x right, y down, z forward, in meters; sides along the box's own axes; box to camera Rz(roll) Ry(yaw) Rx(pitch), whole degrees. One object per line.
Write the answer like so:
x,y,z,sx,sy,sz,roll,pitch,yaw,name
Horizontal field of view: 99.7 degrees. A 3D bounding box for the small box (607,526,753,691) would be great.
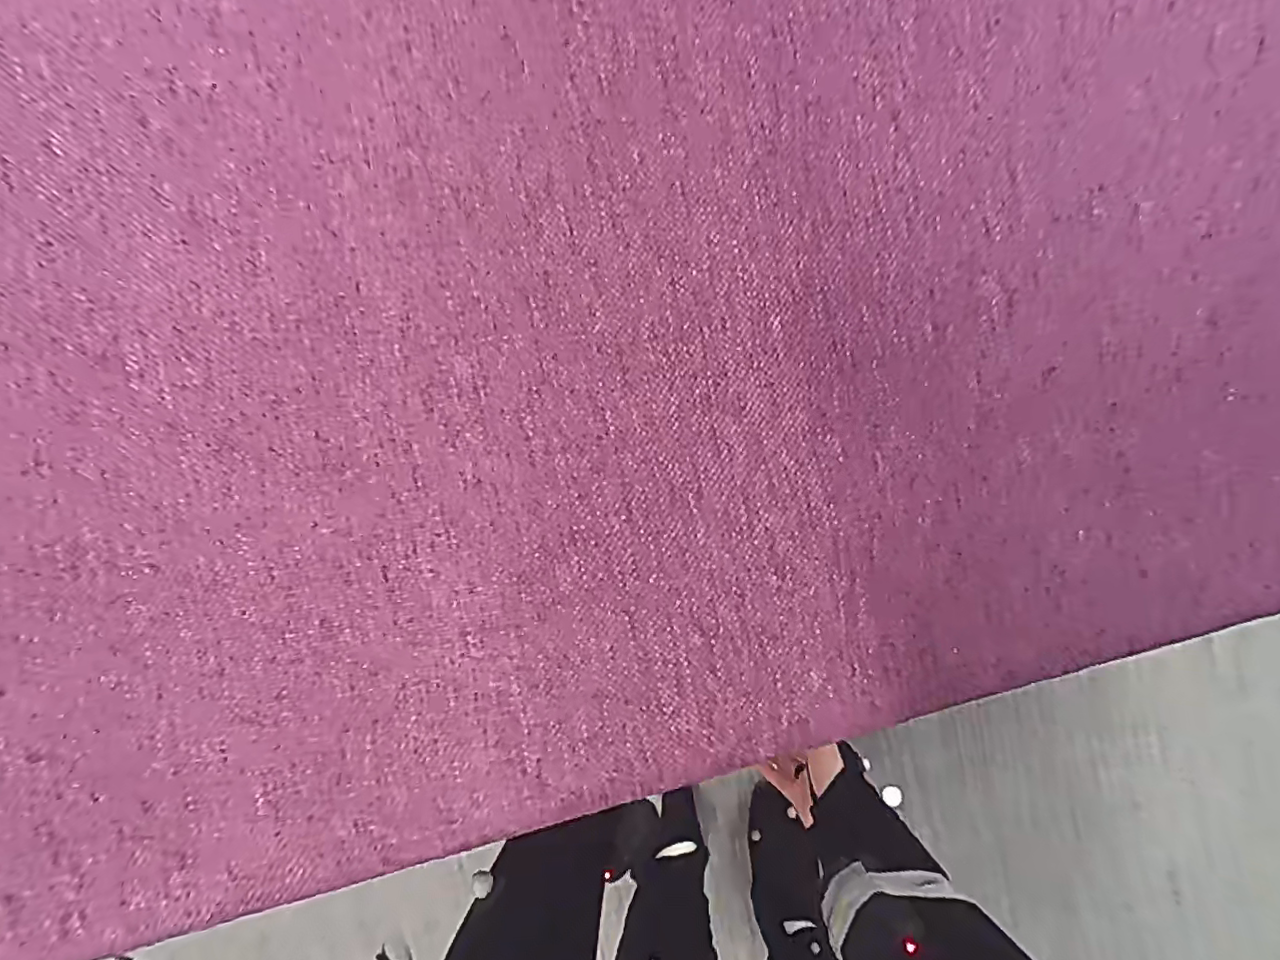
0.052,0.174,0.784,0.168,0.176,0.179,-12,91,-2,small box
